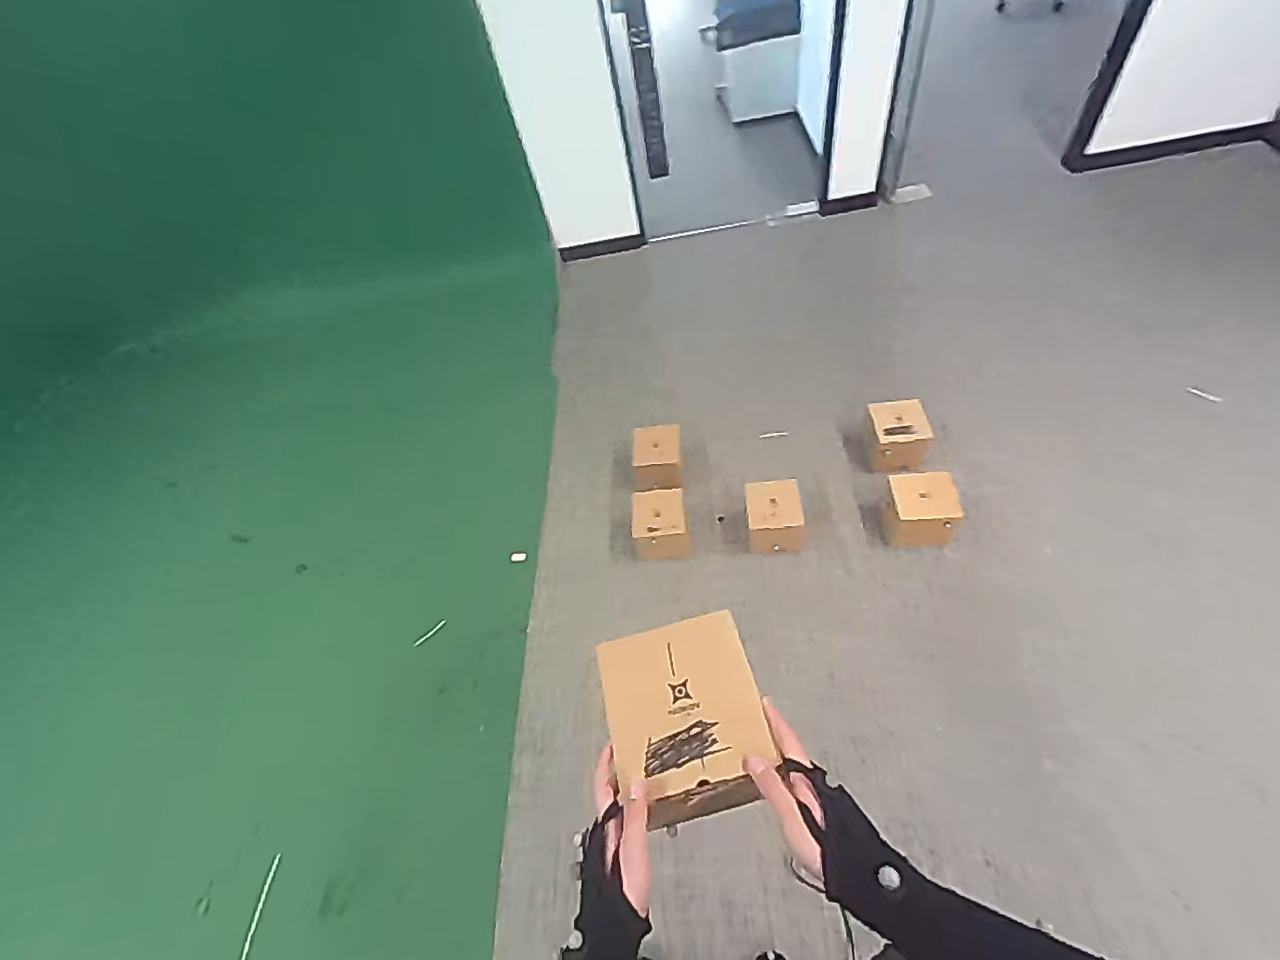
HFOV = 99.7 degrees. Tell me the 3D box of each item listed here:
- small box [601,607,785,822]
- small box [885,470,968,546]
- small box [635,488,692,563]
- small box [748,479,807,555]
[{"bbox_3d":[0.061,0.280,0.632,0.168,0.176,0.179,-14,49,-1],"label":"small box"},{"bbox_3d":[0.859,0.090,1.646,0.179,0.176,0.168,-4,53,9],"label":"small box"},{"bbox_3d":[0.080,0.151,1.776,0.168,0.176,0.179,-7,52,9],"label":"small box"},{"bbox_3d":[0.432,0.119,1.719,0.168,0.176,0.179,-5,53,10],"label":"small box"}]
